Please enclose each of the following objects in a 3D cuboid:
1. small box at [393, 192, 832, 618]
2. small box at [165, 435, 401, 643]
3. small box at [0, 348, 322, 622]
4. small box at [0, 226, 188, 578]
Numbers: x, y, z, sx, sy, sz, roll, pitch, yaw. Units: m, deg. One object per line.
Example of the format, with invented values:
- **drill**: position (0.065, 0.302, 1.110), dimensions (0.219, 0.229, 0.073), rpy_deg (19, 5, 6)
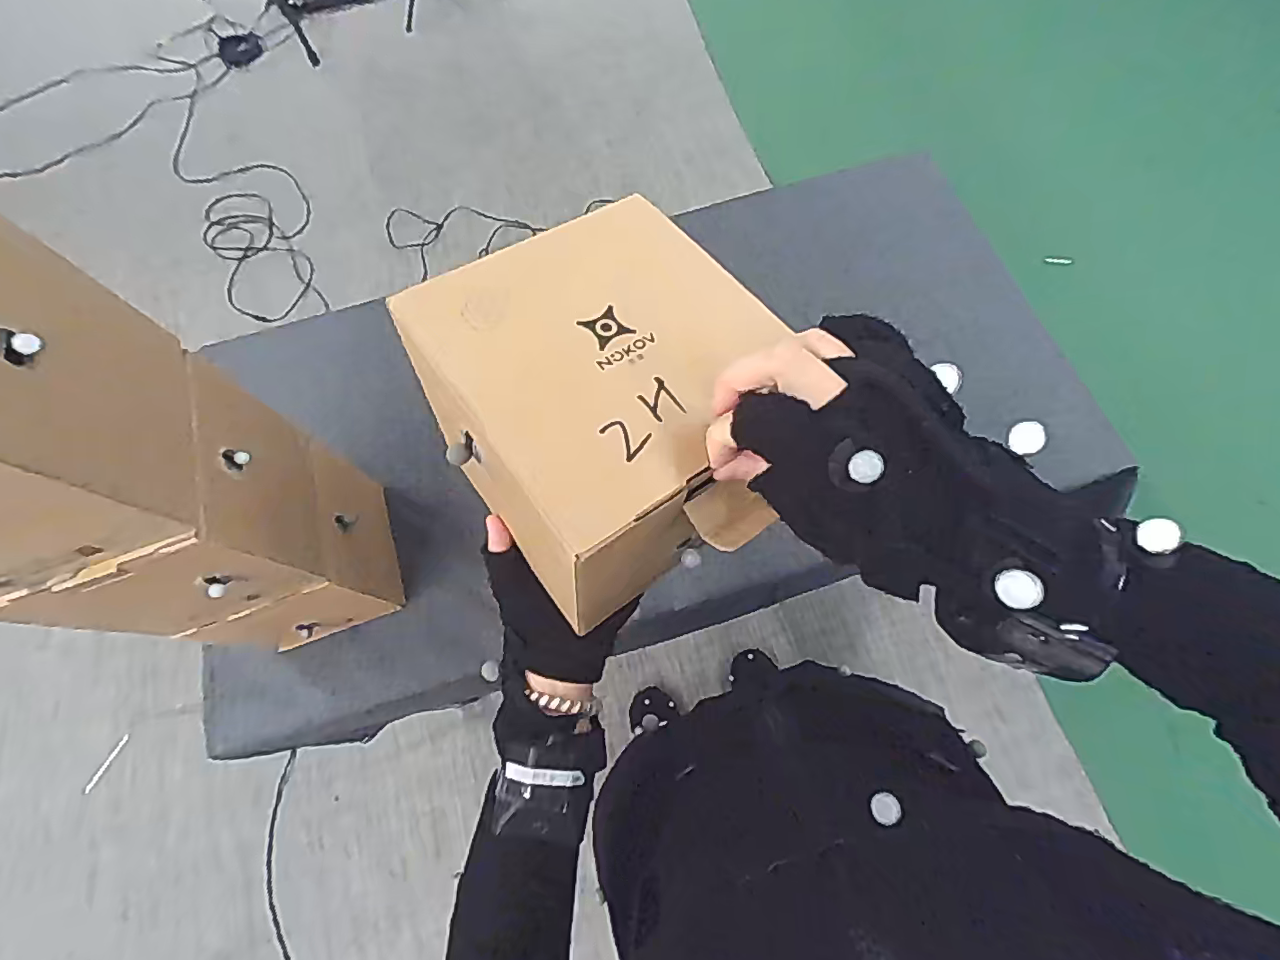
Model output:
- **small box**: position (-0.023, -0.037, 0.349), dimensions (0.168, 0.176, 0.179), rpy_deg (-33, 72, -19)
- **small box**: position (-0.408, 0.078, 0.637), dimensions (0.168, 0.176, 0.179), rpy_deg (-20, 70, -4)
- **small box**: position (-0.416, 0.019, 0.485), dimensions (0.168, 0.176, 0.179), rpy_deg (-19, 70, -5)
- **small box**: position (-0.427, -0.045, 0.334), dimensions (0.168, 0.176, 0.179), rpy_deg (-20, 70, -6)
